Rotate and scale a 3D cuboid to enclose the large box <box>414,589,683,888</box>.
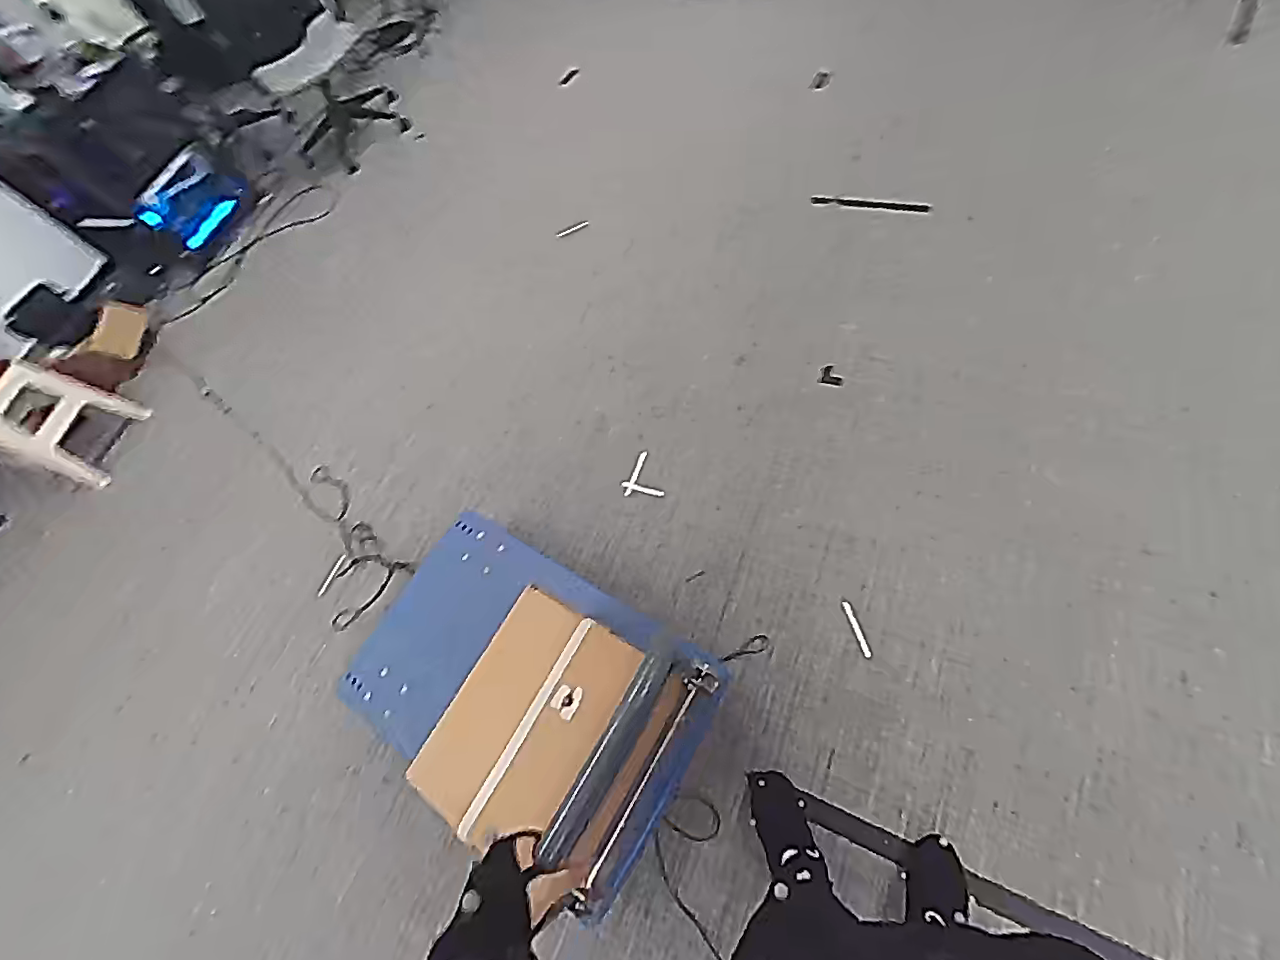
[{"bbox_3d":[-0.157,0.502,1.104,0.320,0.320,0.408,24,72,24],"label":"large box"}]
